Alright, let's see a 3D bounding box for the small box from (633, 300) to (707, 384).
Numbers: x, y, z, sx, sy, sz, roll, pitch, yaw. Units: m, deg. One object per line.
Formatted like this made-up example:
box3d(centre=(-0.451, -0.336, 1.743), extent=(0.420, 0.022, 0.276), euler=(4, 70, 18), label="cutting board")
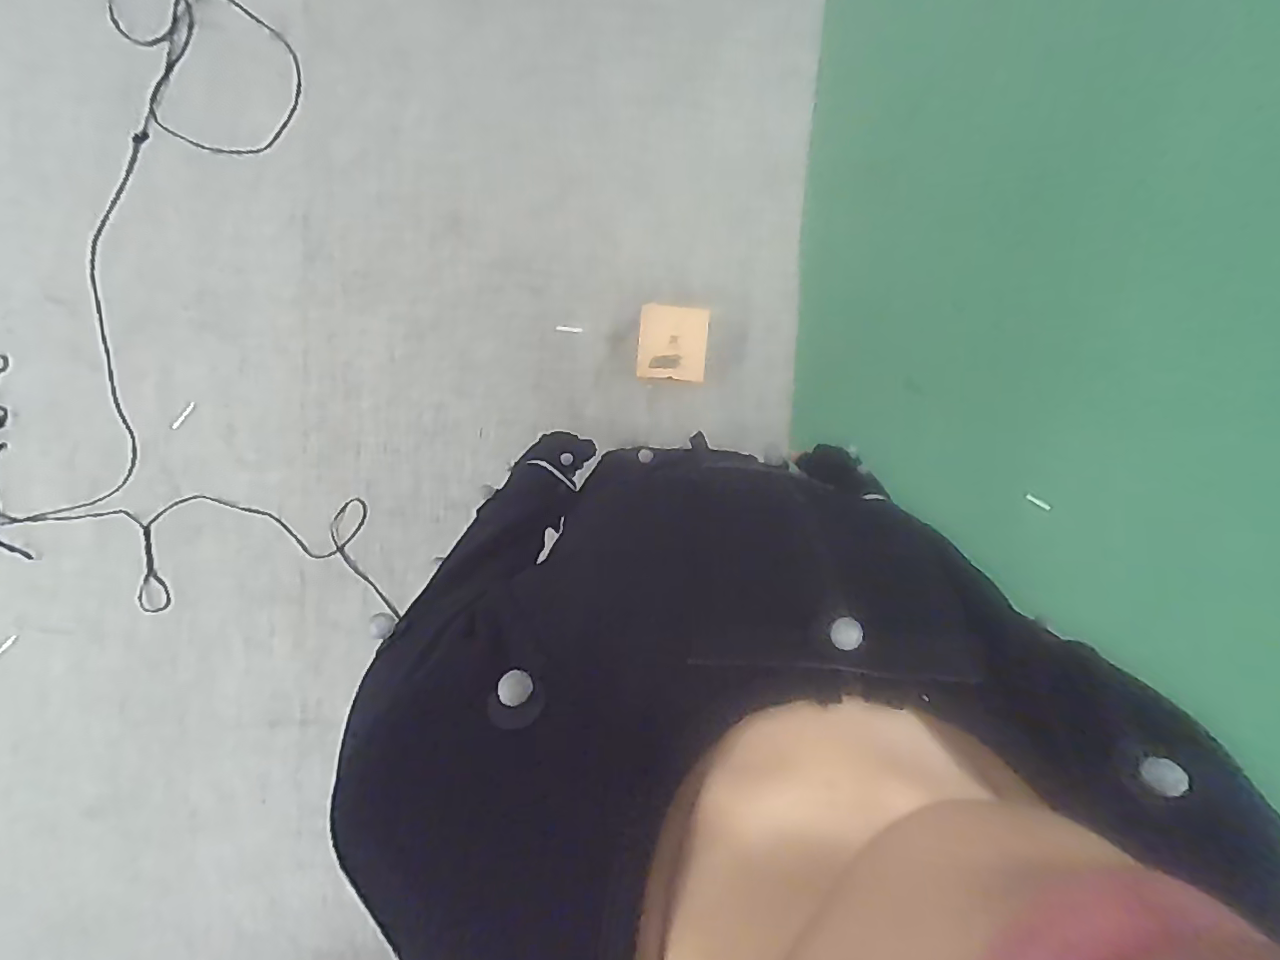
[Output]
box3d(centre=(0.073, -0.341, 1.368), extent=(0.168, 0.176, 0.179), euler=(5, 94, 0), label="small box")
